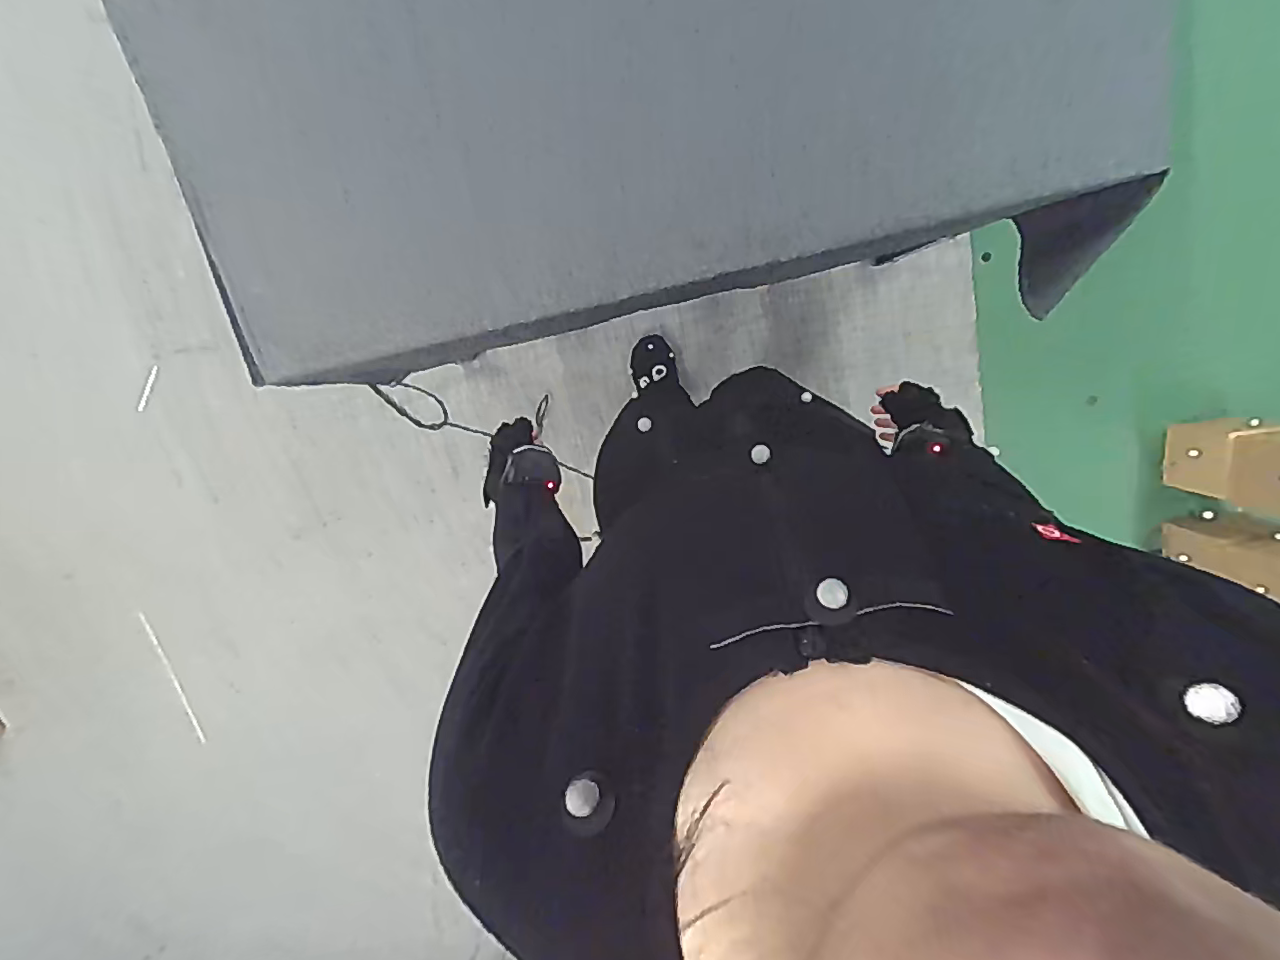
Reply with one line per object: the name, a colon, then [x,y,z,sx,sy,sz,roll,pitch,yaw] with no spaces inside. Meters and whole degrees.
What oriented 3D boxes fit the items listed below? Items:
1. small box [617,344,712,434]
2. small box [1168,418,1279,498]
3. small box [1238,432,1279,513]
small box: [0.058,-0.236,1.383,0.179,0.176,0.168,29,115,12]
small box: [1.488,-0.059,1.355,0.179,0.176,0.168,-7,102,3]
small box: [1.495,-0.017,1.195,0.168,0.176,0.179,-8,102,4]
